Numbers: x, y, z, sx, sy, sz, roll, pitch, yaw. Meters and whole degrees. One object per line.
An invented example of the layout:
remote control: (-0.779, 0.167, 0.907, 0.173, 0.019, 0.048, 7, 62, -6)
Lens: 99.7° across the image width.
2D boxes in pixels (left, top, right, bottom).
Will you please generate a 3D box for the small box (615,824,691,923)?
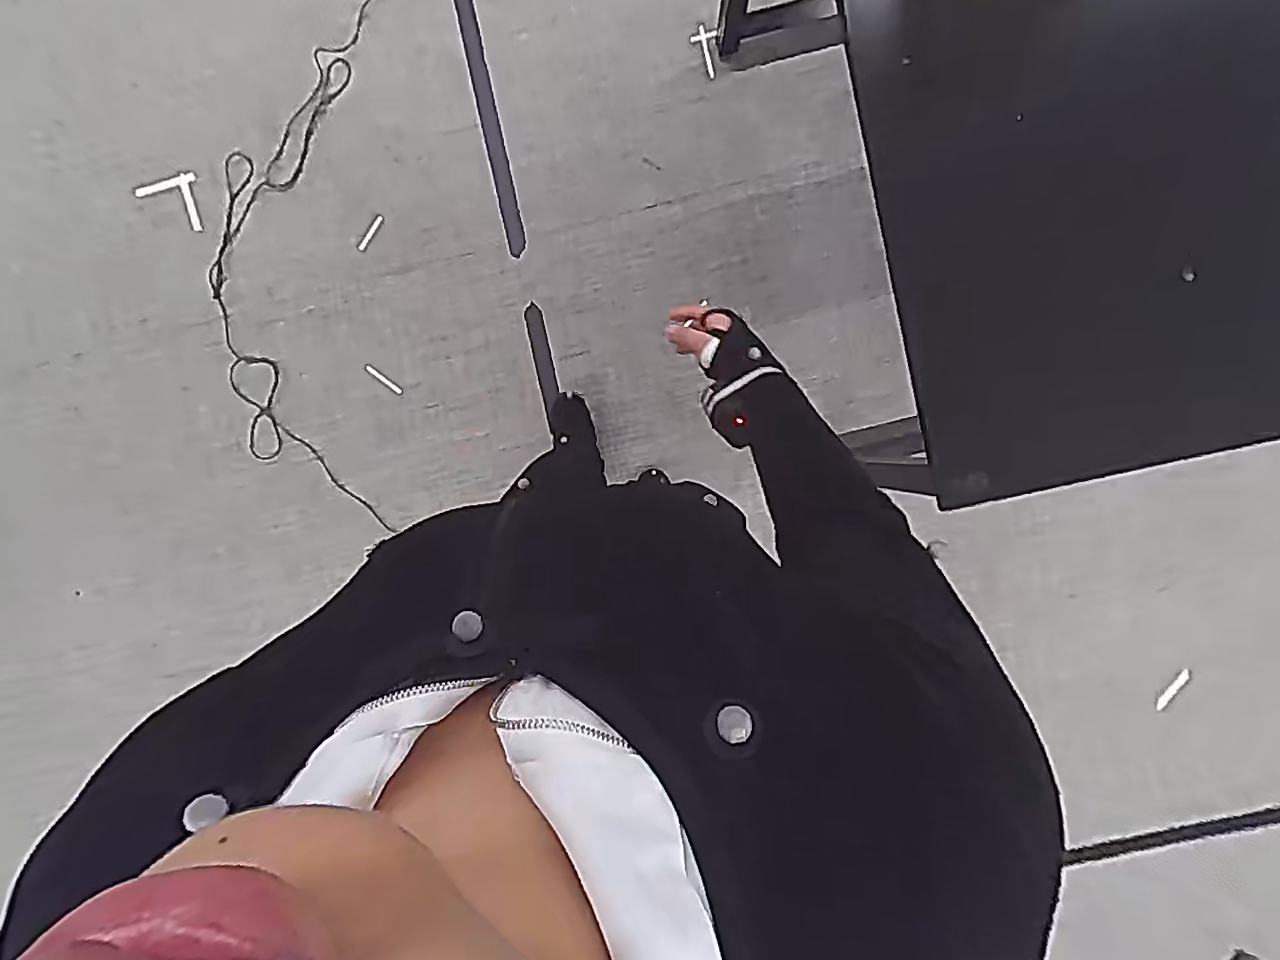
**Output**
small box: (0.033, 1.077, 1.473, 0.179, 0.176, 0.168, -13, 92, 2)
